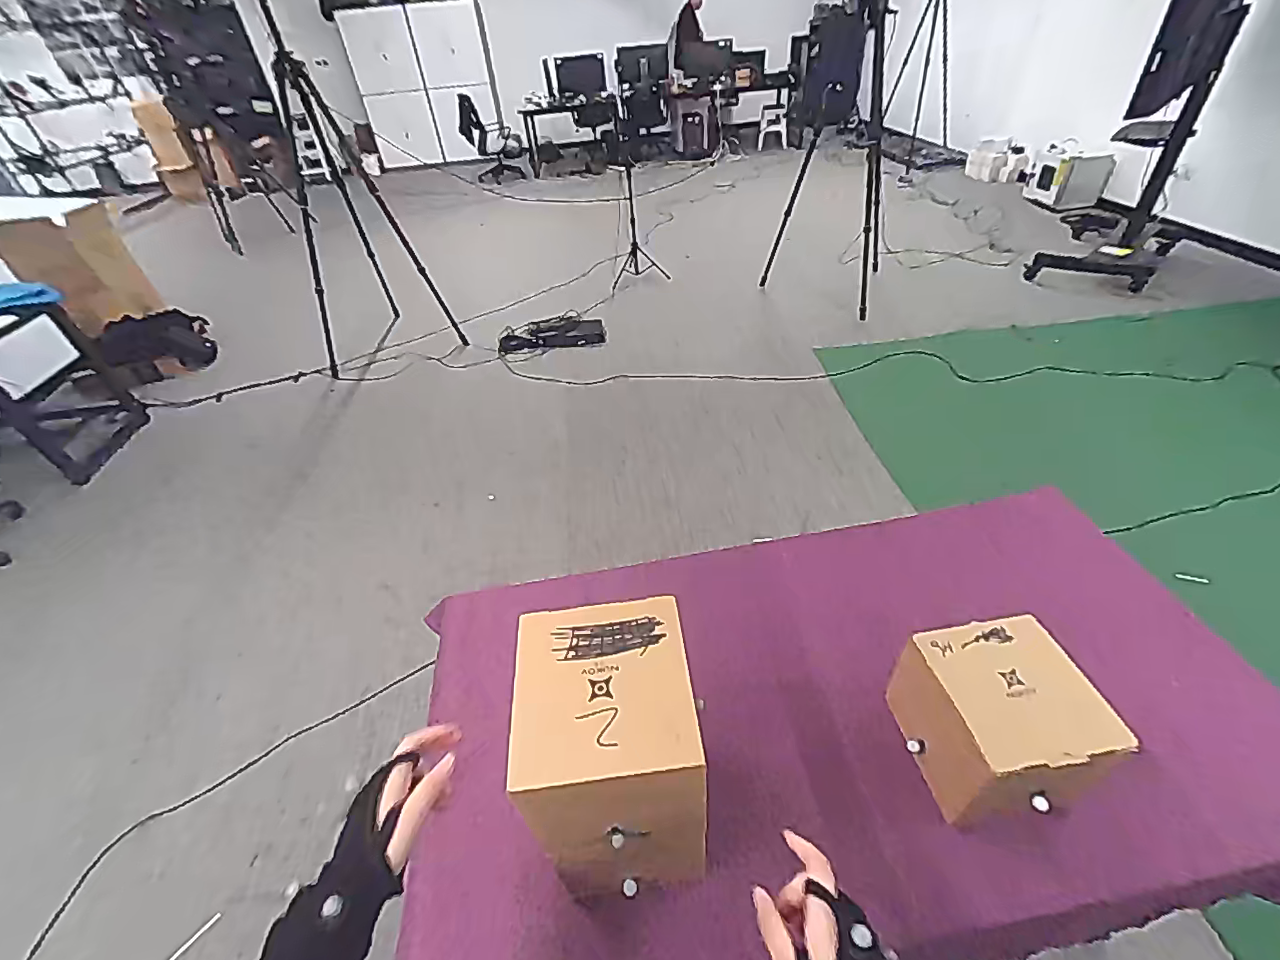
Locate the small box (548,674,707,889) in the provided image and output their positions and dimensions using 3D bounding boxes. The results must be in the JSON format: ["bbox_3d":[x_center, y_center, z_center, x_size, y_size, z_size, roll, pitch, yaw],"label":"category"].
[{"bbox_3d":[-0.015,0.369,0.665,0.168,0.176,0.179,-7,42,-1],"label":"small box"}]

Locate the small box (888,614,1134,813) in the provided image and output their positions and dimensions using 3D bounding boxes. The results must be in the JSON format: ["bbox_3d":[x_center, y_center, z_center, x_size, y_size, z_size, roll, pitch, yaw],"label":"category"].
[{"bbox_3d":[0.446,0.300,0.688,0.168,0.176,0.179,-8,42,-3],"label":"small box"}]
